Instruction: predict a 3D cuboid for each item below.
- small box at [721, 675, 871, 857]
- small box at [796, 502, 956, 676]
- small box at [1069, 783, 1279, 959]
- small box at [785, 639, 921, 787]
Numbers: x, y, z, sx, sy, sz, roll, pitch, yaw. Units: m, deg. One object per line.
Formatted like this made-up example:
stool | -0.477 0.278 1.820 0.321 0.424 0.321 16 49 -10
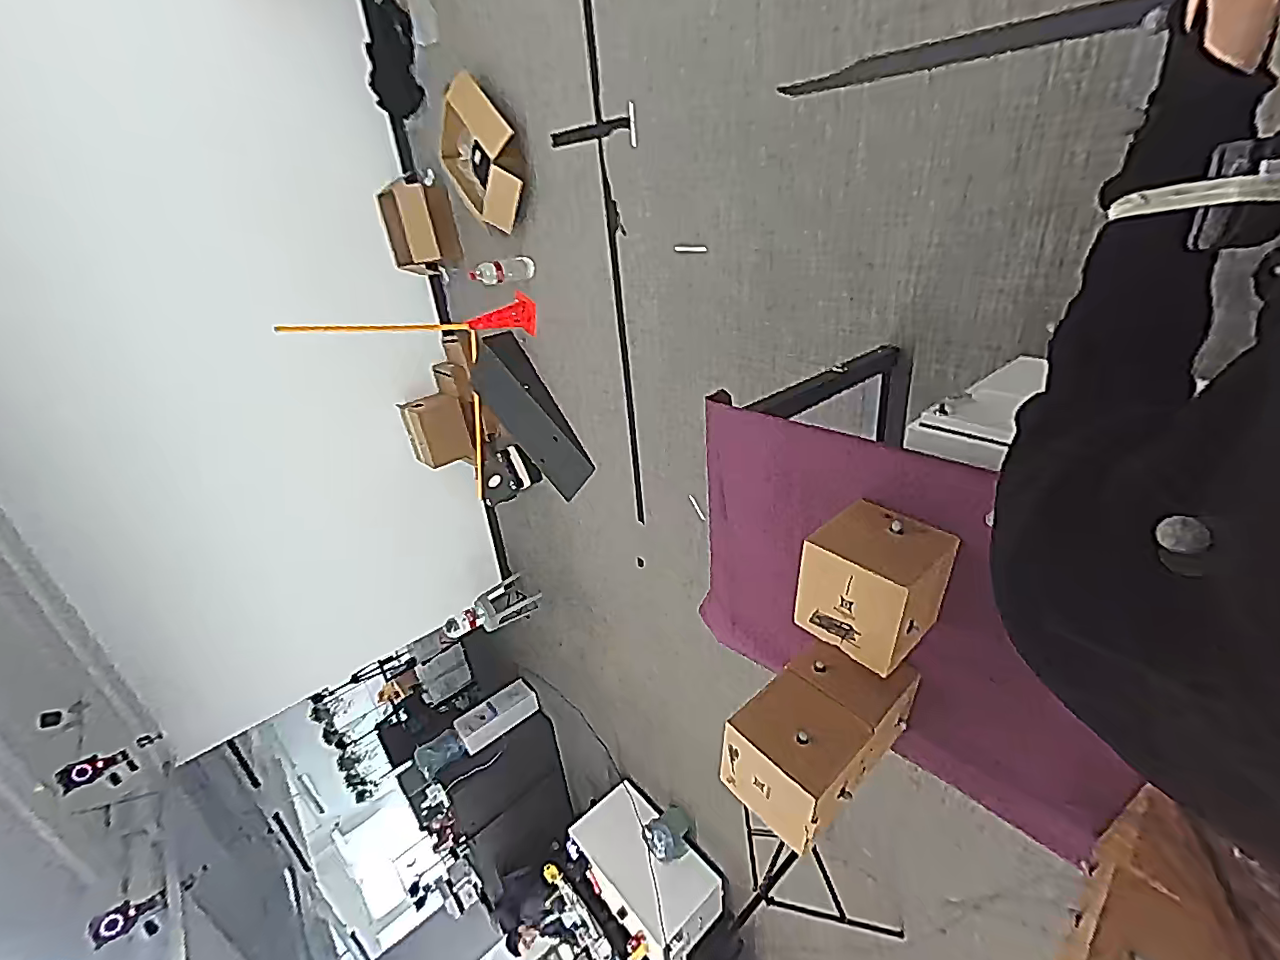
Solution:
small box | 0.260 0.468 0.912 0.179 0.176 0.168 29 131 40
small box | 0.373 0.164 0.861 0.168 0.176 0.179 27 132 42
small box | 0.685 0.532 0.672 0.168 0.176 0.179 29 130 40
small box | 0.383 0.410 1.004 0.179 0.176 0.168 28 131 42
